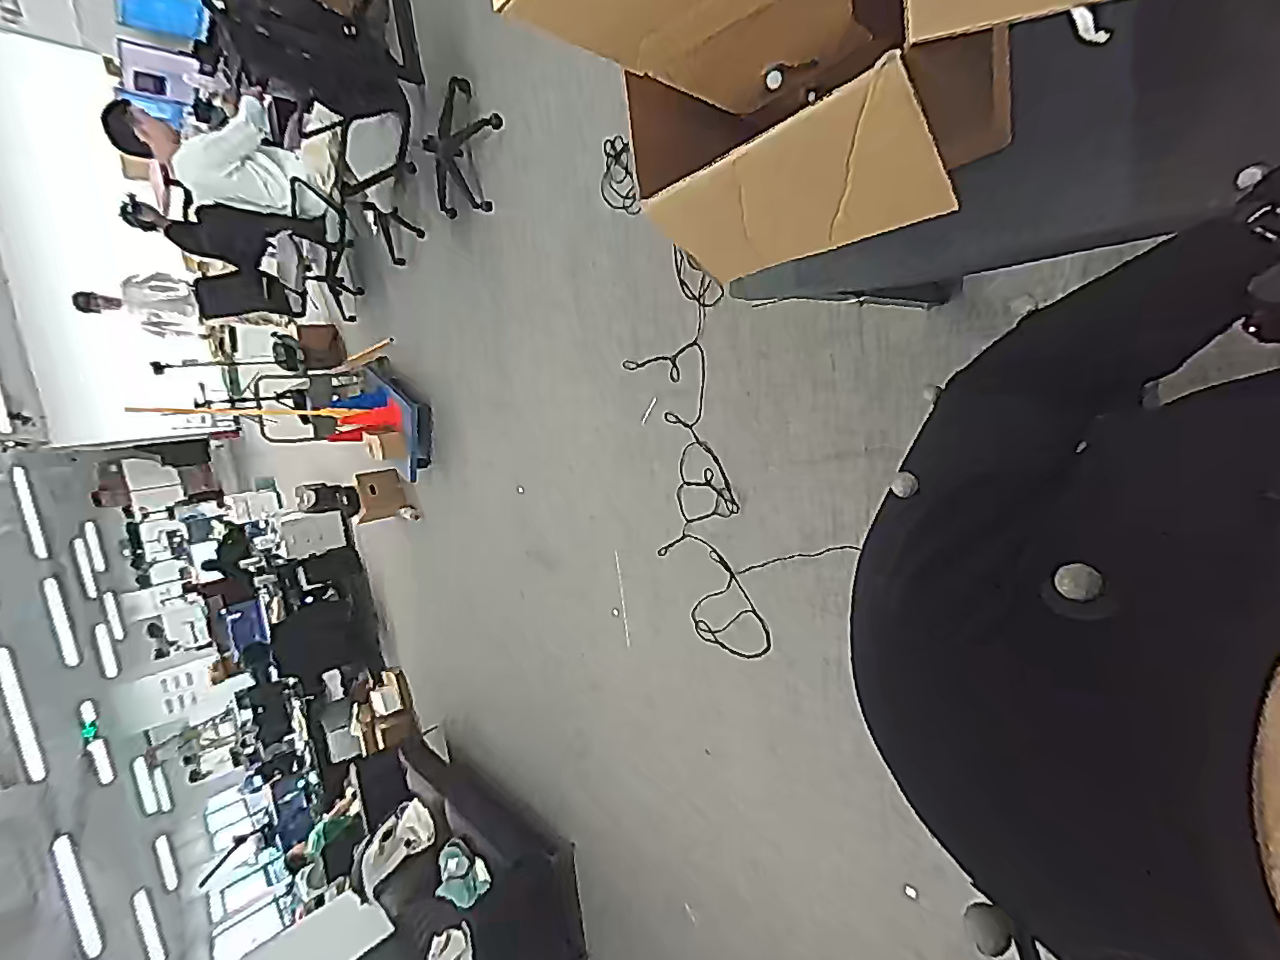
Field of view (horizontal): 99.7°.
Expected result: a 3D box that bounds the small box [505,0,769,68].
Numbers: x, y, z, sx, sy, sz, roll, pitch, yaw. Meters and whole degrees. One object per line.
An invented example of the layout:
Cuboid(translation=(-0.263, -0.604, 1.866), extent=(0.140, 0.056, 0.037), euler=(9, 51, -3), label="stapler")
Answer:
Cuboid(translation=(0.004, -0.469, 0.424), extent=(0.179, 0.176, 0.168), euler=(10, 109, 45), label="small box")
